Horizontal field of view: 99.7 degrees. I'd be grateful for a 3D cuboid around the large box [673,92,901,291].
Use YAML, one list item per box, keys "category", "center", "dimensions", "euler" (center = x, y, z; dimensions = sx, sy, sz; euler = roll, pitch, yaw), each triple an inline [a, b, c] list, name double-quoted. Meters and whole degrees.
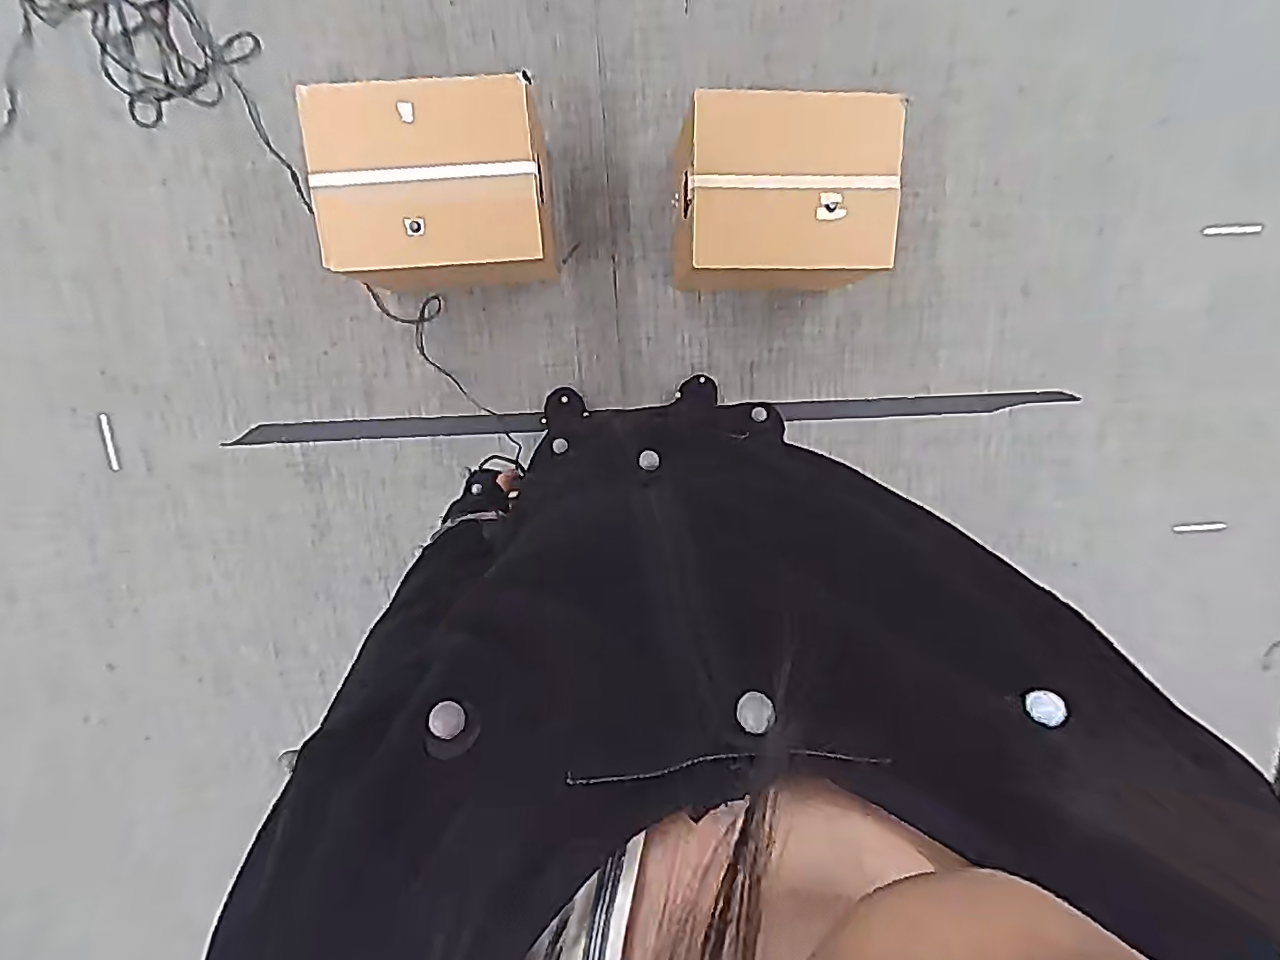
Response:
- category: "large box"
  center: [0.290, -0.600, 1.185]
  dimensions: [0.408, 0.320, 0.320]
  euler: [-1, 102, -4]
